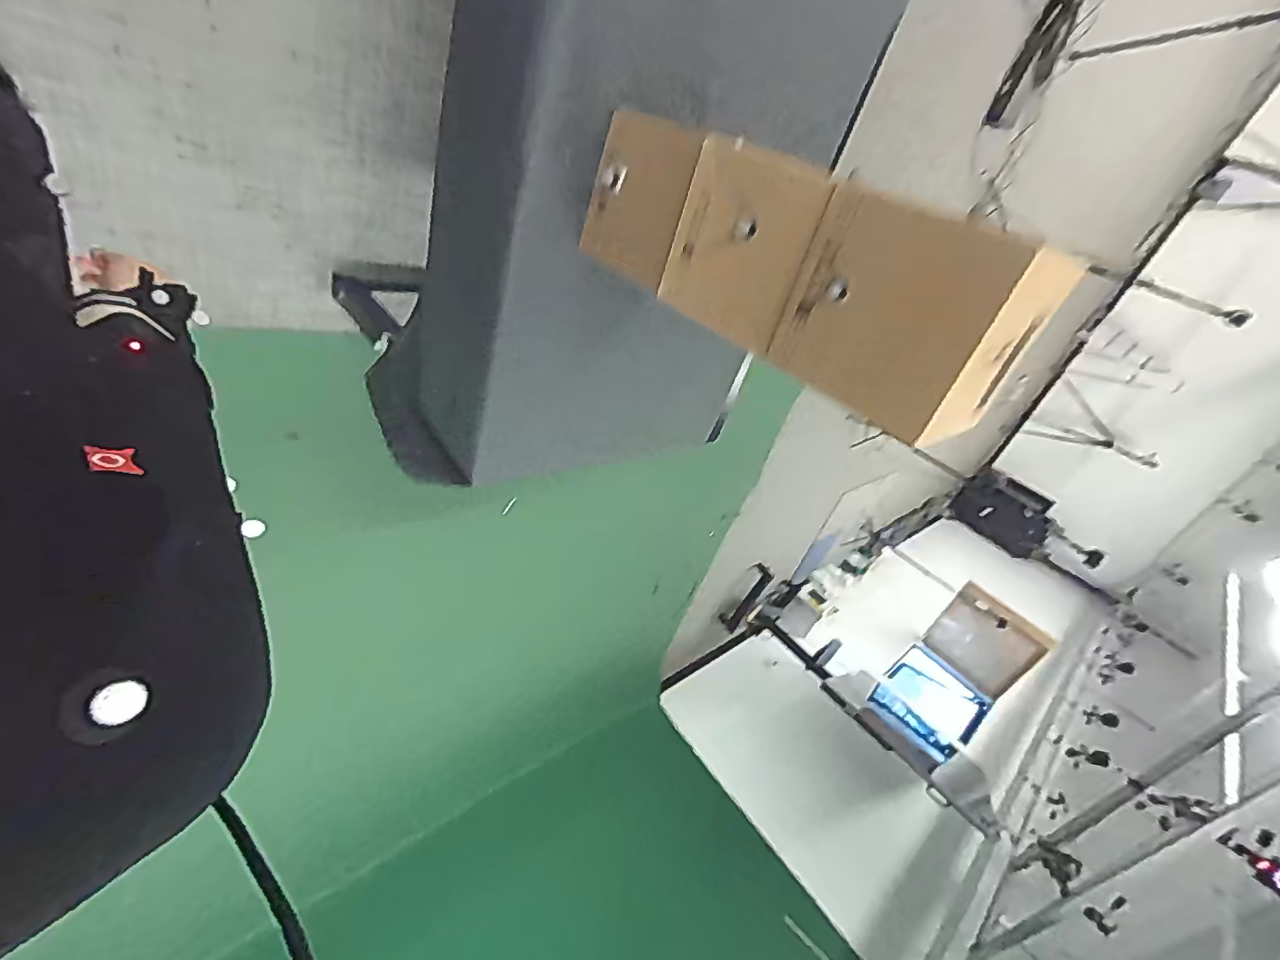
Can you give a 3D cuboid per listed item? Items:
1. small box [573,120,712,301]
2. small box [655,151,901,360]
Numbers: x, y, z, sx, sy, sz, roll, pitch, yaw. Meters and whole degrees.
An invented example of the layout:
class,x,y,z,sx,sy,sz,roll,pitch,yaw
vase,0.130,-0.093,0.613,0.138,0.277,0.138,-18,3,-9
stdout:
class,x,y,z,sx,sy,sz,roll,pitch,yaw
small box,0.045,-0.335,0.694,0.179,0.176,0.168,-12,132,-43
small box,0.144,-0.245,0.601,0.179,0.176,0.168,-15,134,-44
